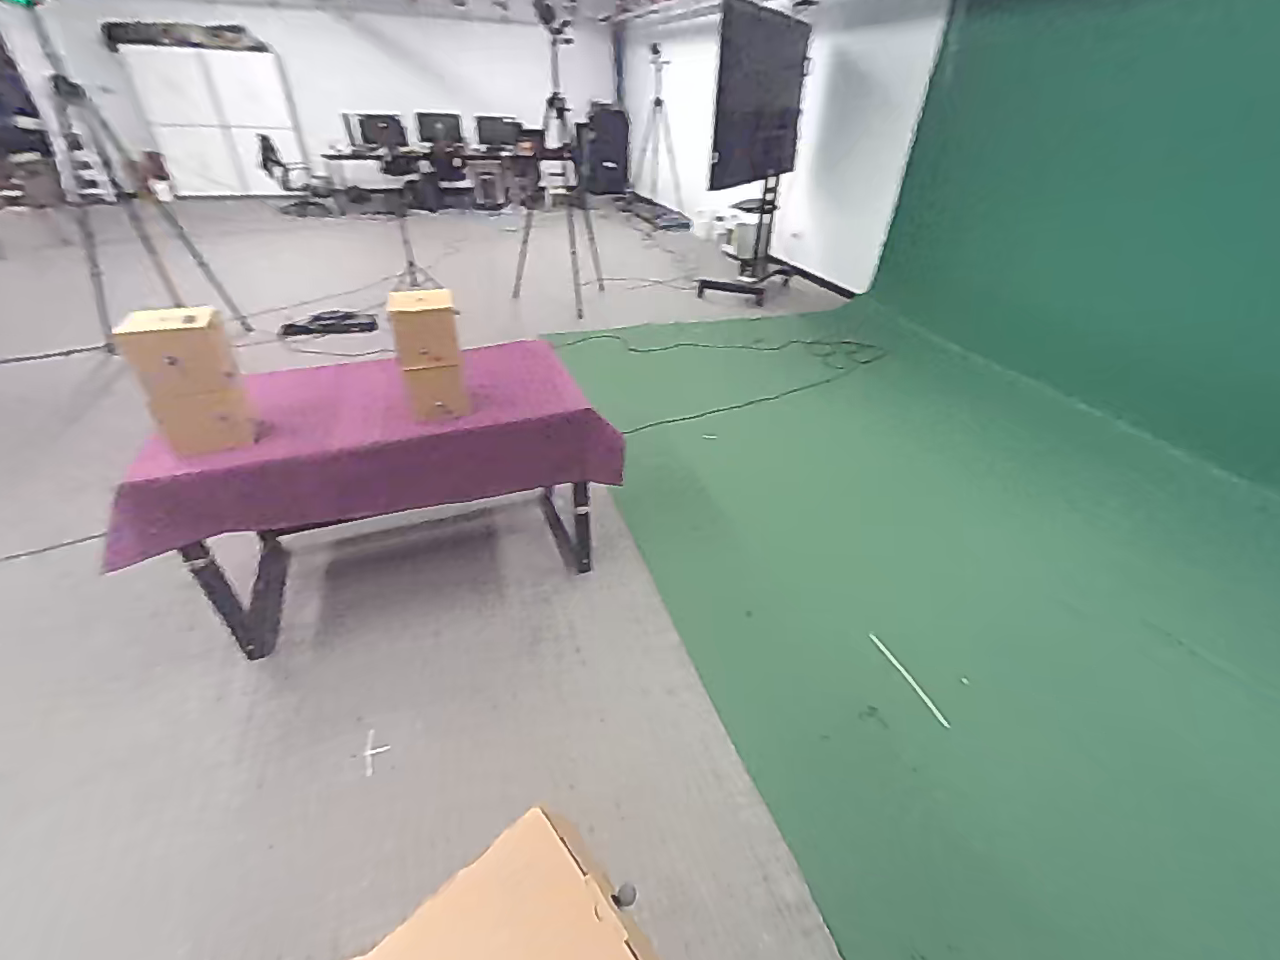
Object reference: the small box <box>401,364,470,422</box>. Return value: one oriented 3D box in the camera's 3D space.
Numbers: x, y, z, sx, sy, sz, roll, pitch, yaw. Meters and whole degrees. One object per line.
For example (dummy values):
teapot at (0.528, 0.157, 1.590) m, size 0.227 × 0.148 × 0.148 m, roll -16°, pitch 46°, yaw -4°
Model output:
small box at (-0.613, -0.294, 1.630) m, size 0.168 × 0.176 × 0.179 m, roll -10°, pitch 38°, yaw -16°

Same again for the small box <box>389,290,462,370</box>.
small box at (-0.606, -0.428, 1.537) m, size 0.168 × 0.176 × 0.179 m, roll -10°, pitch 38°, yaw -17°

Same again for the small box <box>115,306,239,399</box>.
small box at (-1.142, -0.320, 1.352) m, size 0.179 × 0.176 × 0.168 m, roll -13°, pitch 38°, yaw -21°
